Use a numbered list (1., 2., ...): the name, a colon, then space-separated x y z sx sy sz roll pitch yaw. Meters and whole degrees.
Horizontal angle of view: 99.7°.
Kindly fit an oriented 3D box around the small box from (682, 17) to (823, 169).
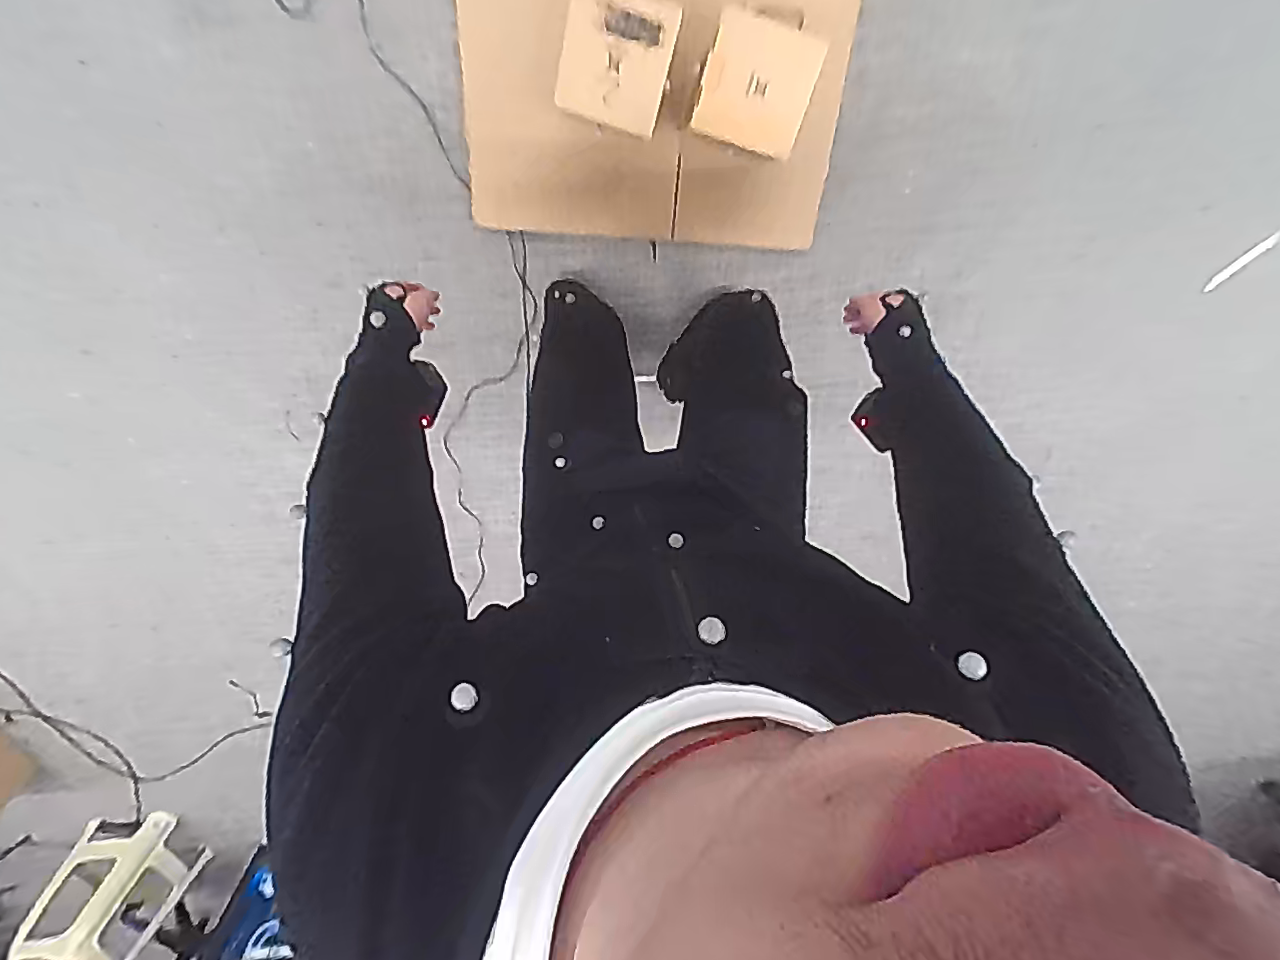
1. small box: 0.186 -0.667 0.952 0.179 0.176 0.168 14 118 -9
